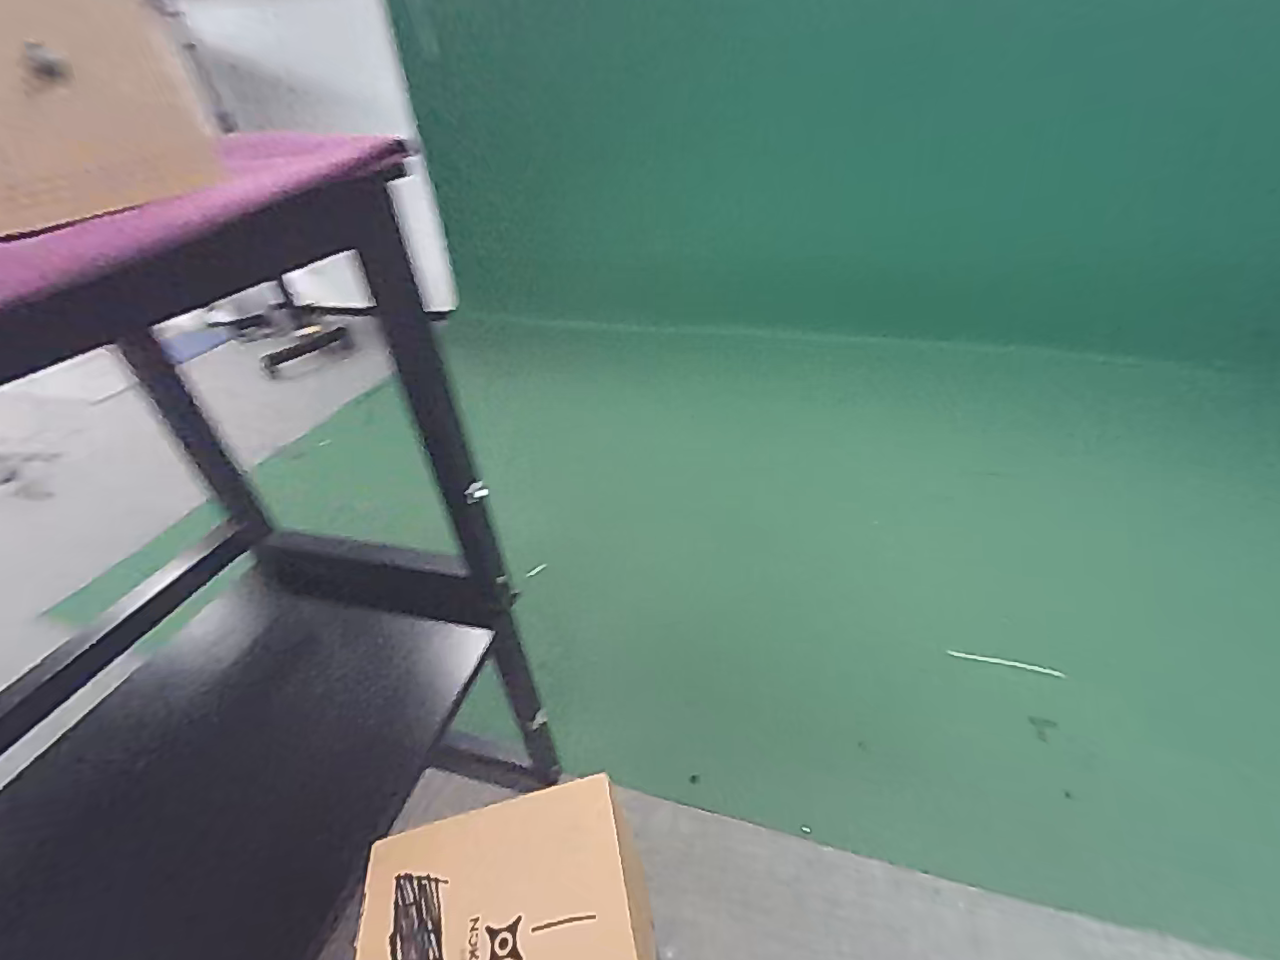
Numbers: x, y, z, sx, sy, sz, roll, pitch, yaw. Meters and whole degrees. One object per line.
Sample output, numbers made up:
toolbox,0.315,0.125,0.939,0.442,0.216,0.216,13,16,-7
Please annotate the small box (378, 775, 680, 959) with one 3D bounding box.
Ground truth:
small box,-0.064,0.347,0.375,0.179,0.176,0.168,-14,36,-4
